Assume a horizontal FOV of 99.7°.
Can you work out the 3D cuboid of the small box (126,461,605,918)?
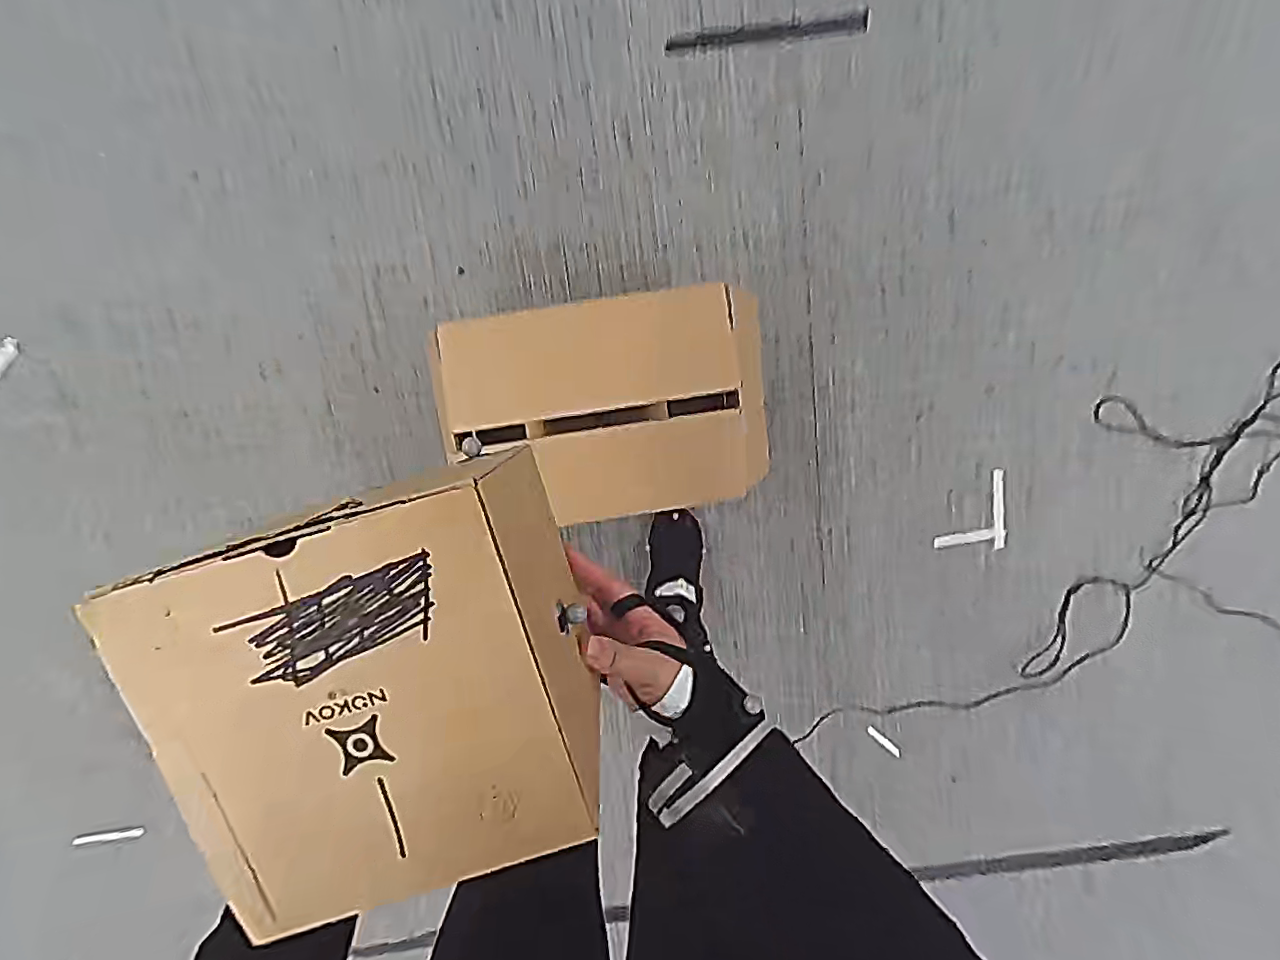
[{"bbox_3d":[-0.124,0.092,0.324,0.168,0.176,0.179,-17,100,-1],"label":"small box"}]
